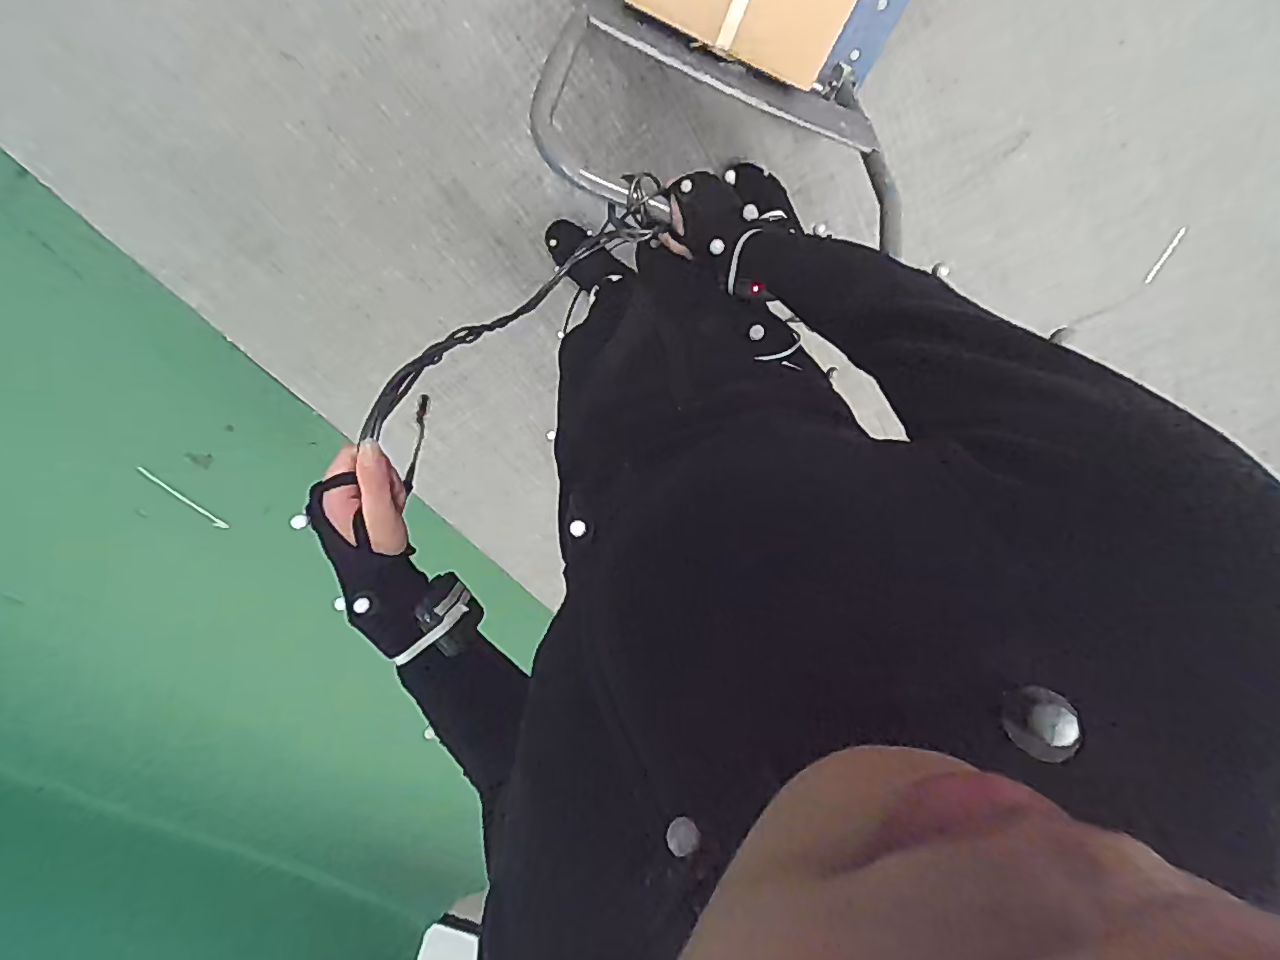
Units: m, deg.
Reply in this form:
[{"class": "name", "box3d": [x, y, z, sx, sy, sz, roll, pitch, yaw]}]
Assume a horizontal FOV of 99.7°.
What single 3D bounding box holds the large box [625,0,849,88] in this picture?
[{"class": "large box", "box3d": [0.192, -0.882, 0.769, 0.320, 0.320, 0.408, 17, 138, -14]}]
